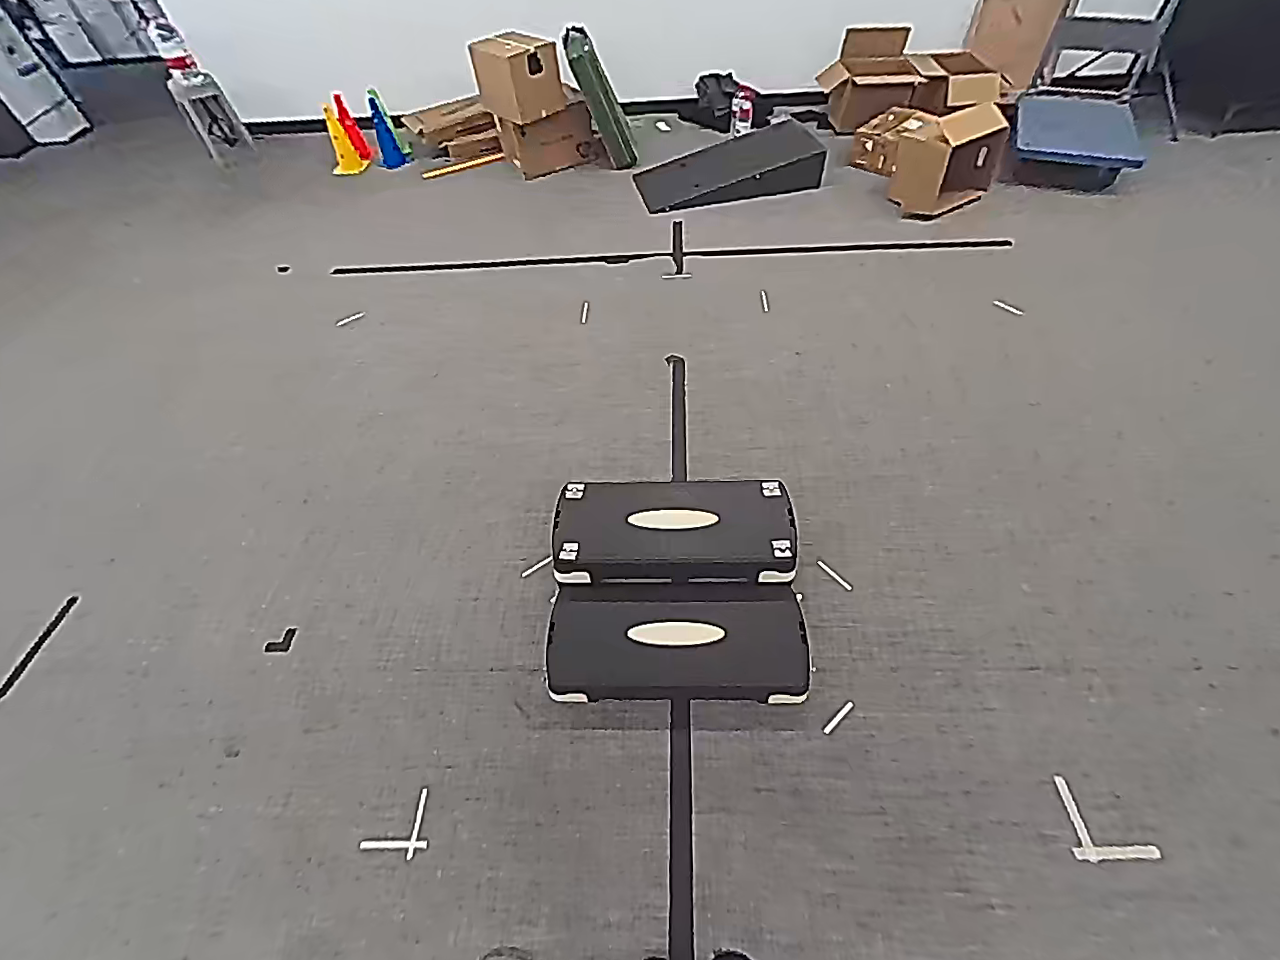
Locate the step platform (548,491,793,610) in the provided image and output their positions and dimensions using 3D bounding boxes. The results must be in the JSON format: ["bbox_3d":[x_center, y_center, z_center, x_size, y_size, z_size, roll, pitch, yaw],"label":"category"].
[{"bbox_3d":[0.081,0.195,1.543,0.684,0.204,0.286,-1,52,2],"label":"step platform"}]
